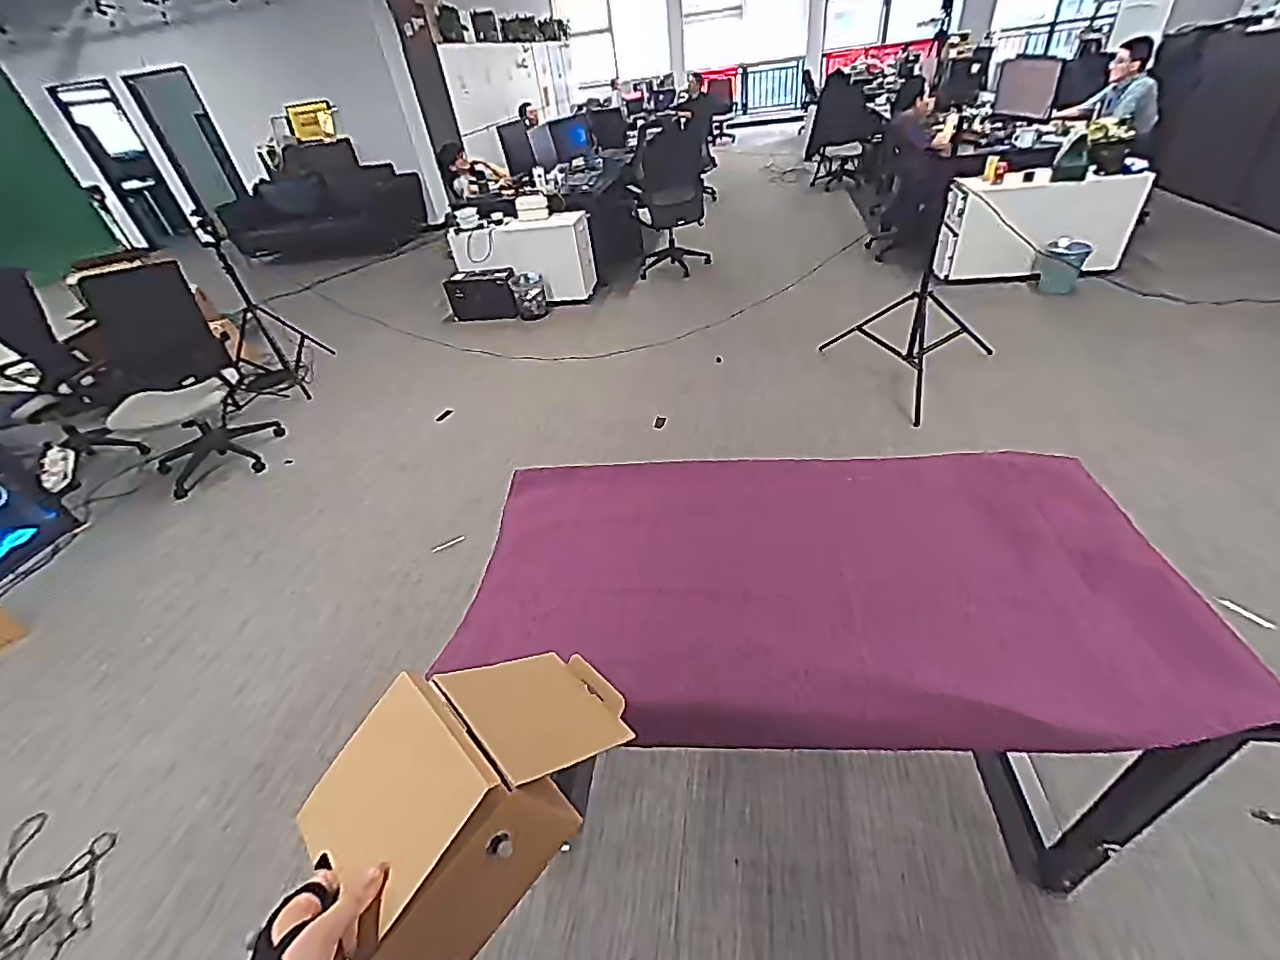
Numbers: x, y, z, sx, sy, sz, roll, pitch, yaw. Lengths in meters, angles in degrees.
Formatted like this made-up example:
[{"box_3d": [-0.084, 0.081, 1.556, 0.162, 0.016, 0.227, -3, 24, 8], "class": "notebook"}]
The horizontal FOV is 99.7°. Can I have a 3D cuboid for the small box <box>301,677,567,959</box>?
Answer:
[{"box_3d": [-0.199, 0.351, 0.567, 0.168, 0.176, 0.179, 29, 66, 39], "class": "small box"}]
